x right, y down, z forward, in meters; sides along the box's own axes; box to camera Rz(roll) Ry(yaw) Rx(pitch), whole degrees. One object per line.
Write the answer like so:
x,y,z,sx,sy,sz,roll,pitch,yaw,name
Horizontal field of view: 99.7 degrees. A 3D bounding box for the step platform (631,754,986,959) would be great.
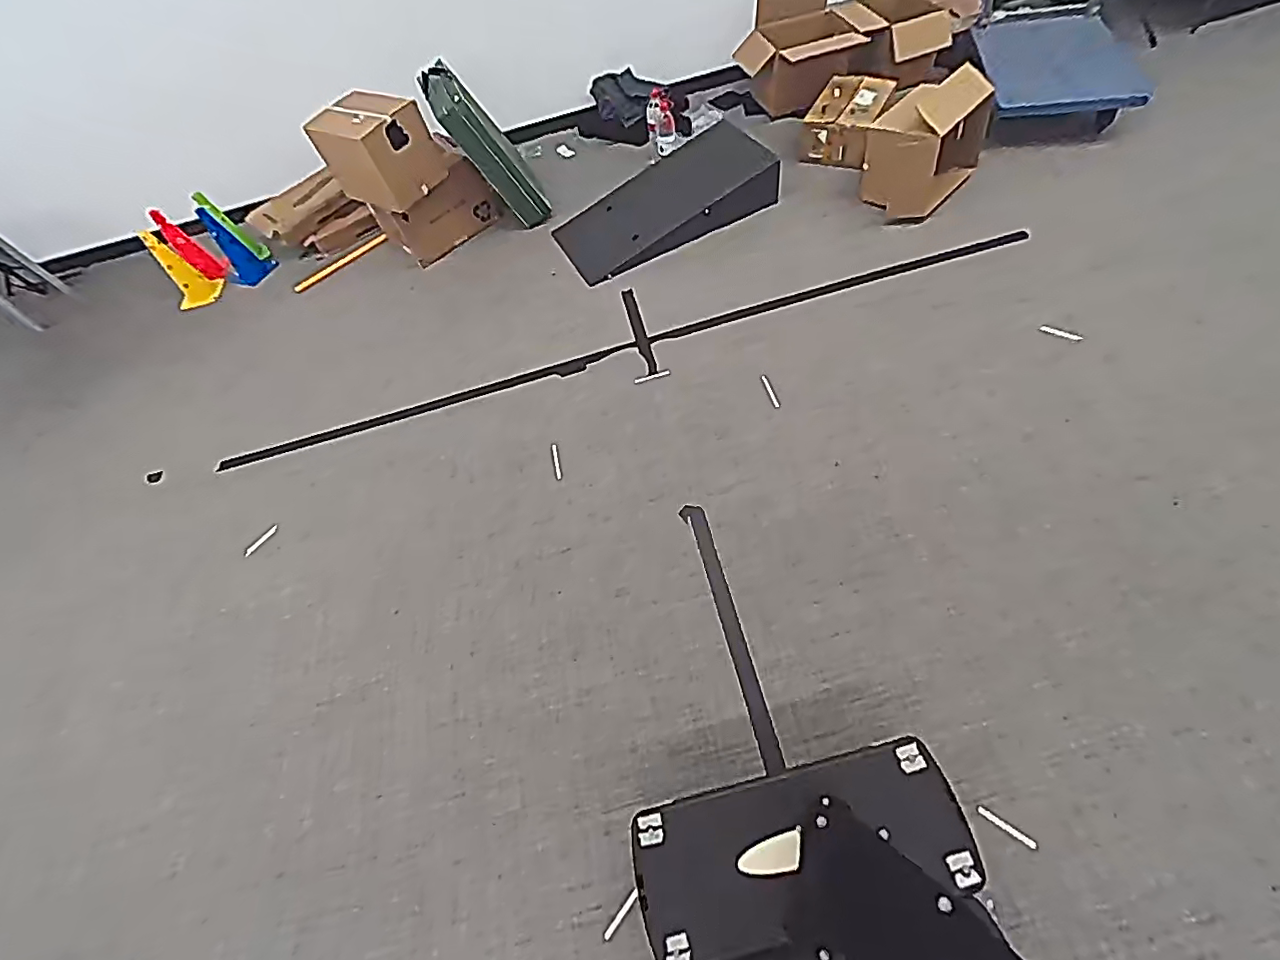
0.325,0.816,1.134,0.684,0.204,0.286,-16,57,-1,step platform
